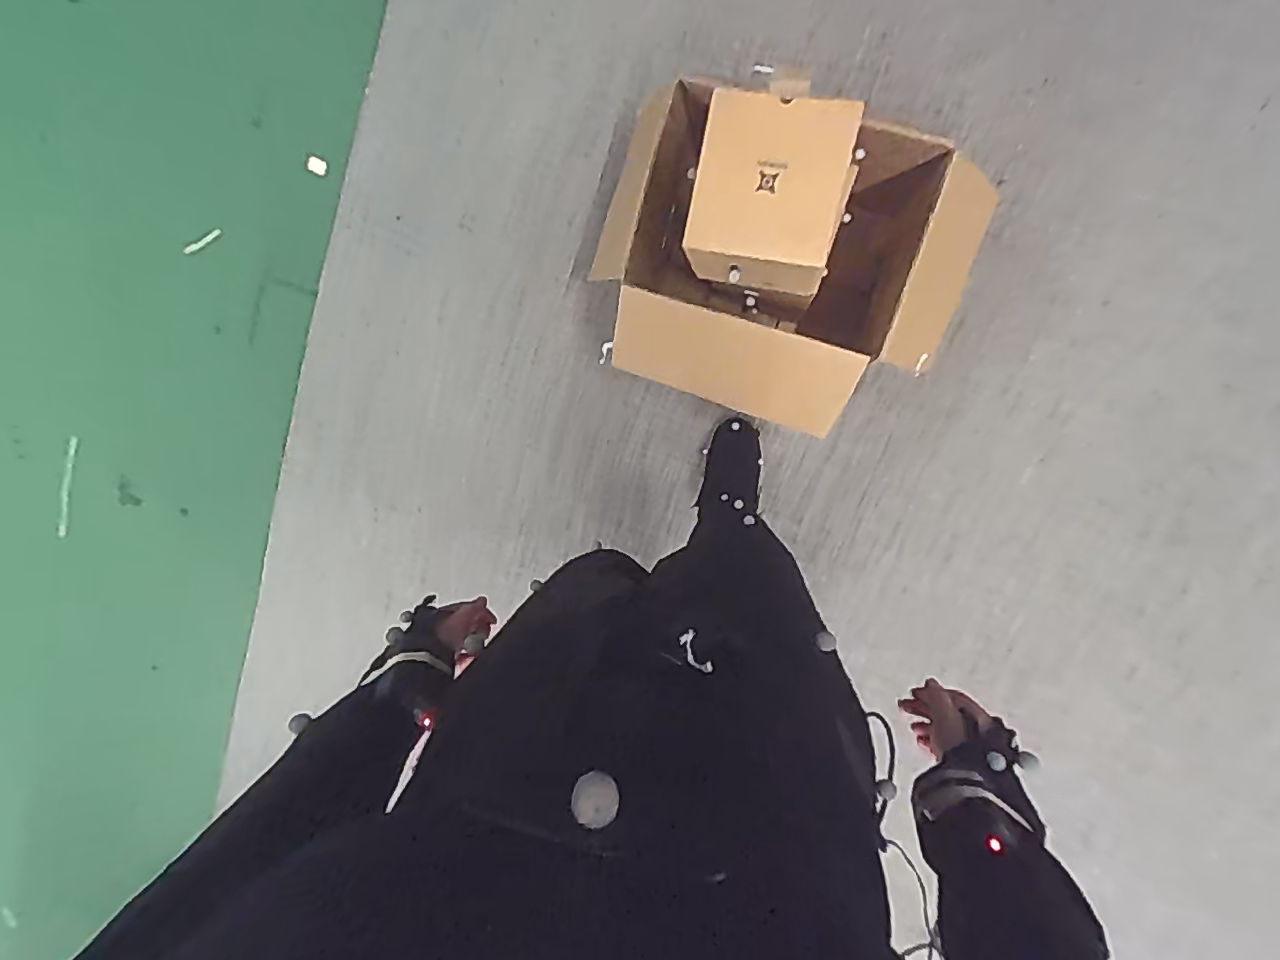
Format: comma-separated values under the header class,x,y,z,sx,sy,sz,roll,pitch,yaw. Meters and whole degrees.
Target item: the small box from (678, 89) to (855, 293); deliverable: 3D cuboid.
class,x,y,z,sx,sy,sz,roll,pitch,yaw
small box,0.156,-0.349,0.685,0.168,0.176,0.179,13,99,10
